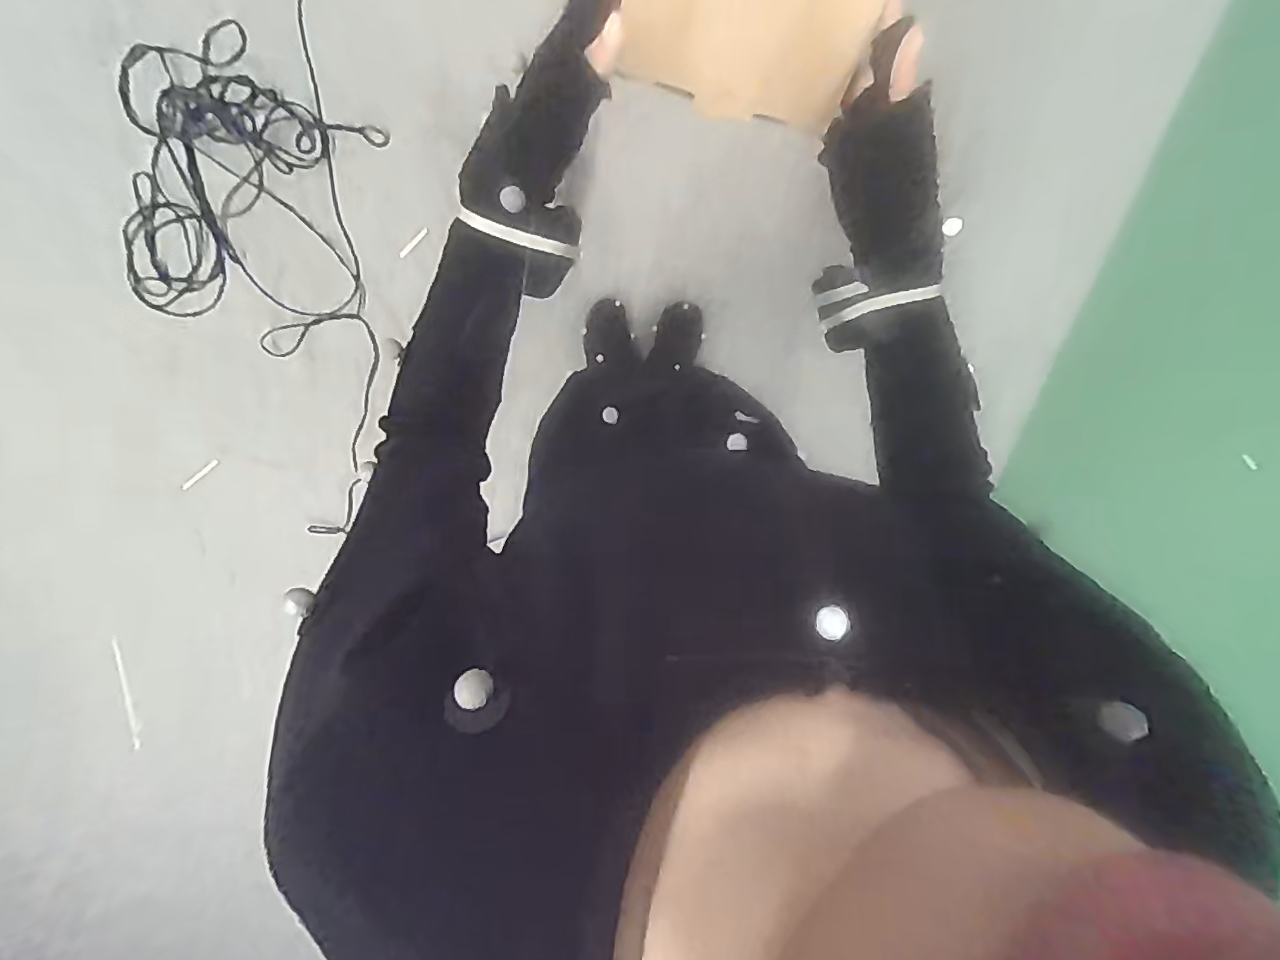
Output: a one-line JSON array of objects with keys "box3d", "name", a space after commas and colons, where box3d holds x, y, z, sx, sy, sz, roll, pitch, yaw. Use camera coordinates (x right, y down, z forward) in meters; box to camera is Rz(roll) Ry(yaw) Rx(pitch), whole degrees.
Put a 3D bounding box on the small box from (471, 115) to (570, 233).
[{"box3d": [-0.252, -0.648, 1.170, 0.168, 0.176, 0.179, 13, 110, -7], "name": "small box"}]
